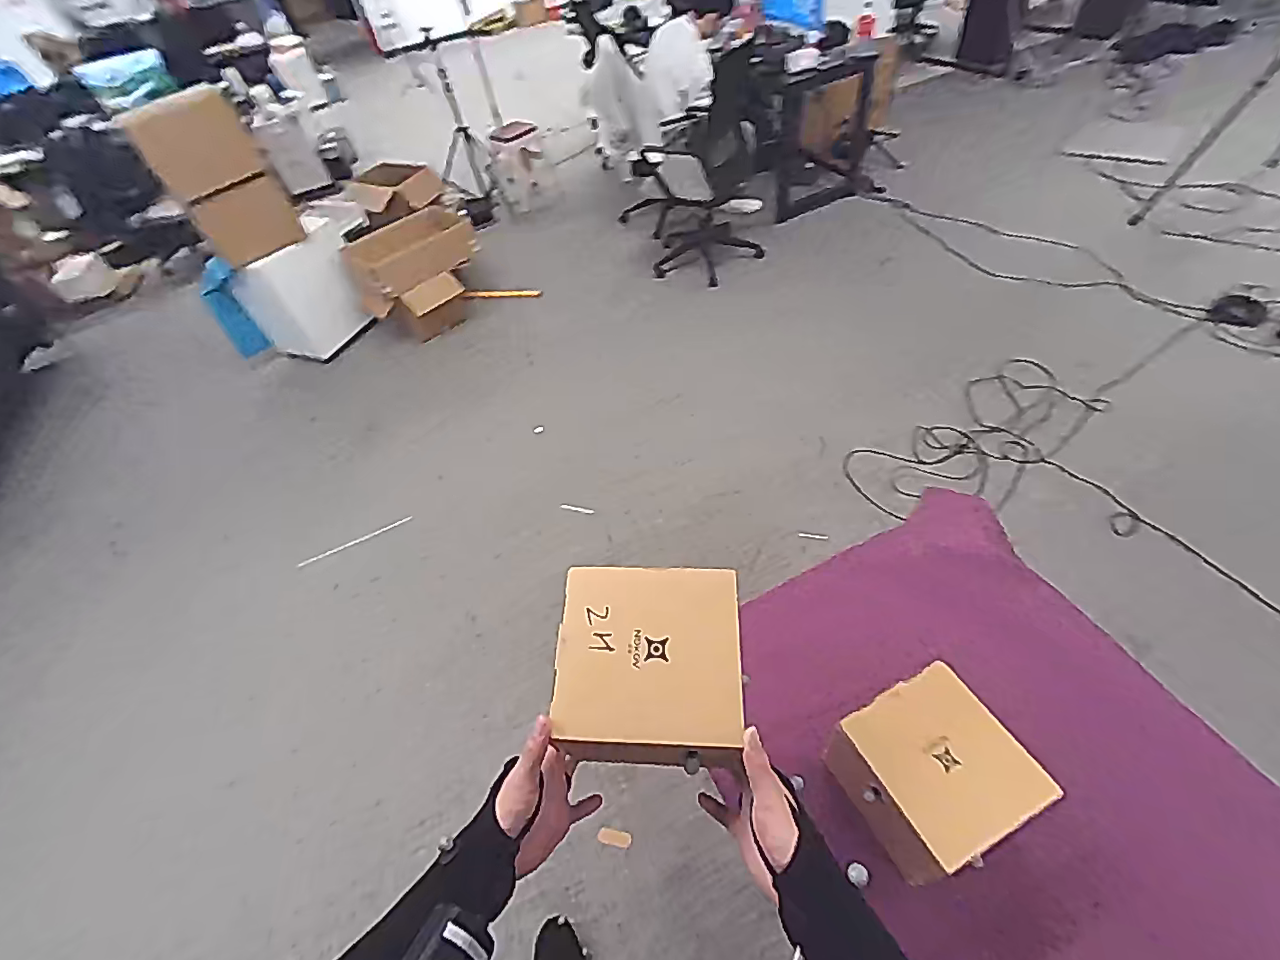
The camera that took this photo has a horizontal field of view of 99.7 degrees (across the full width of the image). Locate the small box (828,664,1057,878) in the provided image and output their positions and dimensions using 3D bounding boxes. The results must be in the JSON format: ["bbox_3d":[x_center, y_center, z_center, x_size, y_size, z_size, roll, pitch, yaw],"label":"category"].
[{"bbox_3d":[0.366,0.377,0.694,0.168,0.176,0.179,-26,49,-11],"label":"small box"}]

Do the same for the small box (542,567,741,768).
[{"bbox_3d":[0.008,0.204,0.577,0.179,0.176,0.168,0,56,5],"label":"small box"}]
